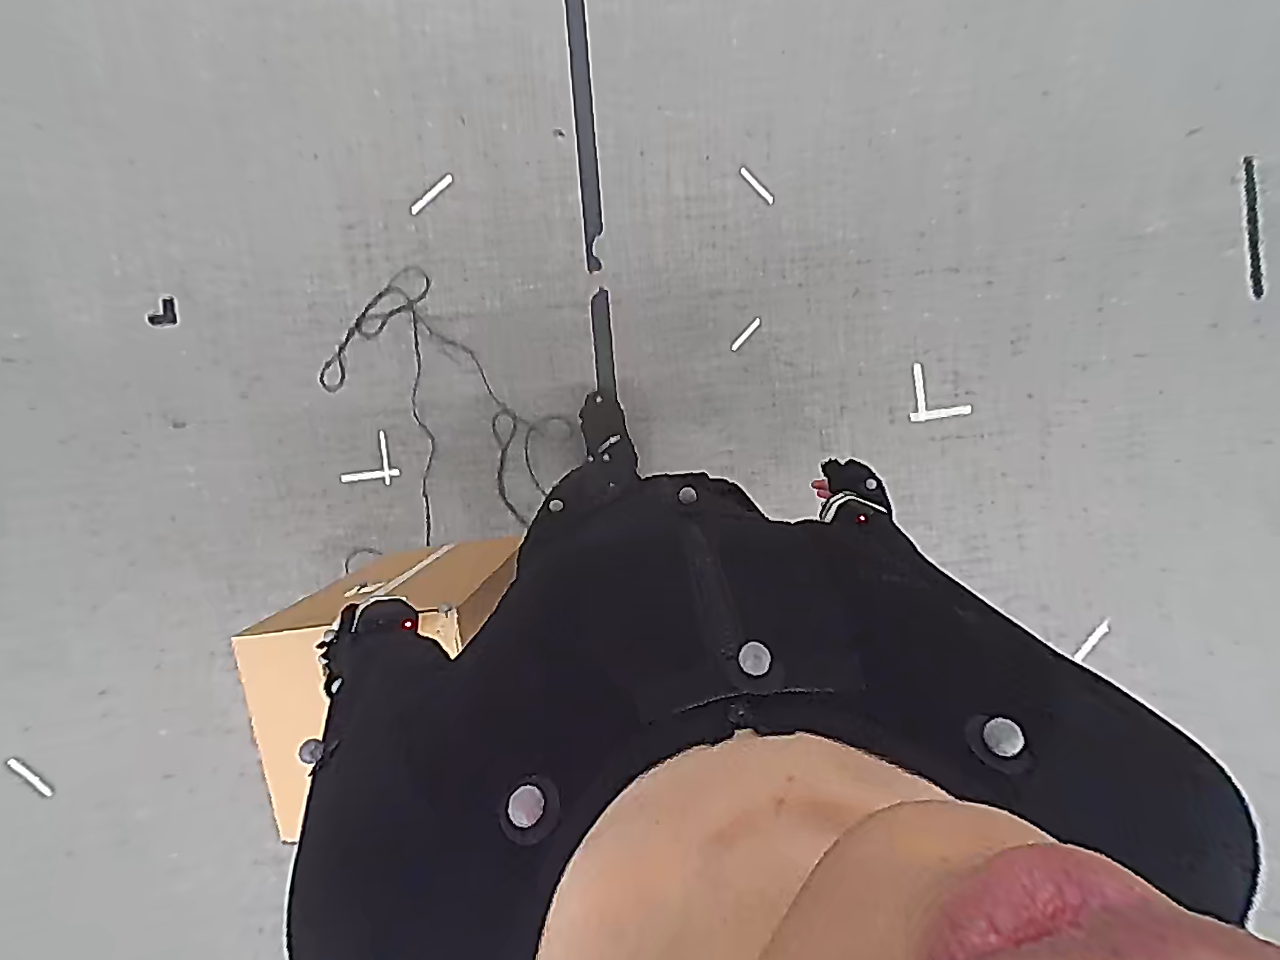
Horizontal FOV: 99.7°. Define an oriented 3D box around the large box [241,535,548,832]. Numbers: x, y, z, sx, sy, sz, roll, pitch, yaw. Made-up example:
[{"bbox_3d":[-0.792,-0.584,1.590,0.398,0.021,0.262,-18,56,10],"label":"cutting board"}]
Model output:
[{"bbox_3d":[-0.363,0.306,0.930,0.320,0.408,0.320,-9,98,4],"label":"large box"}]
